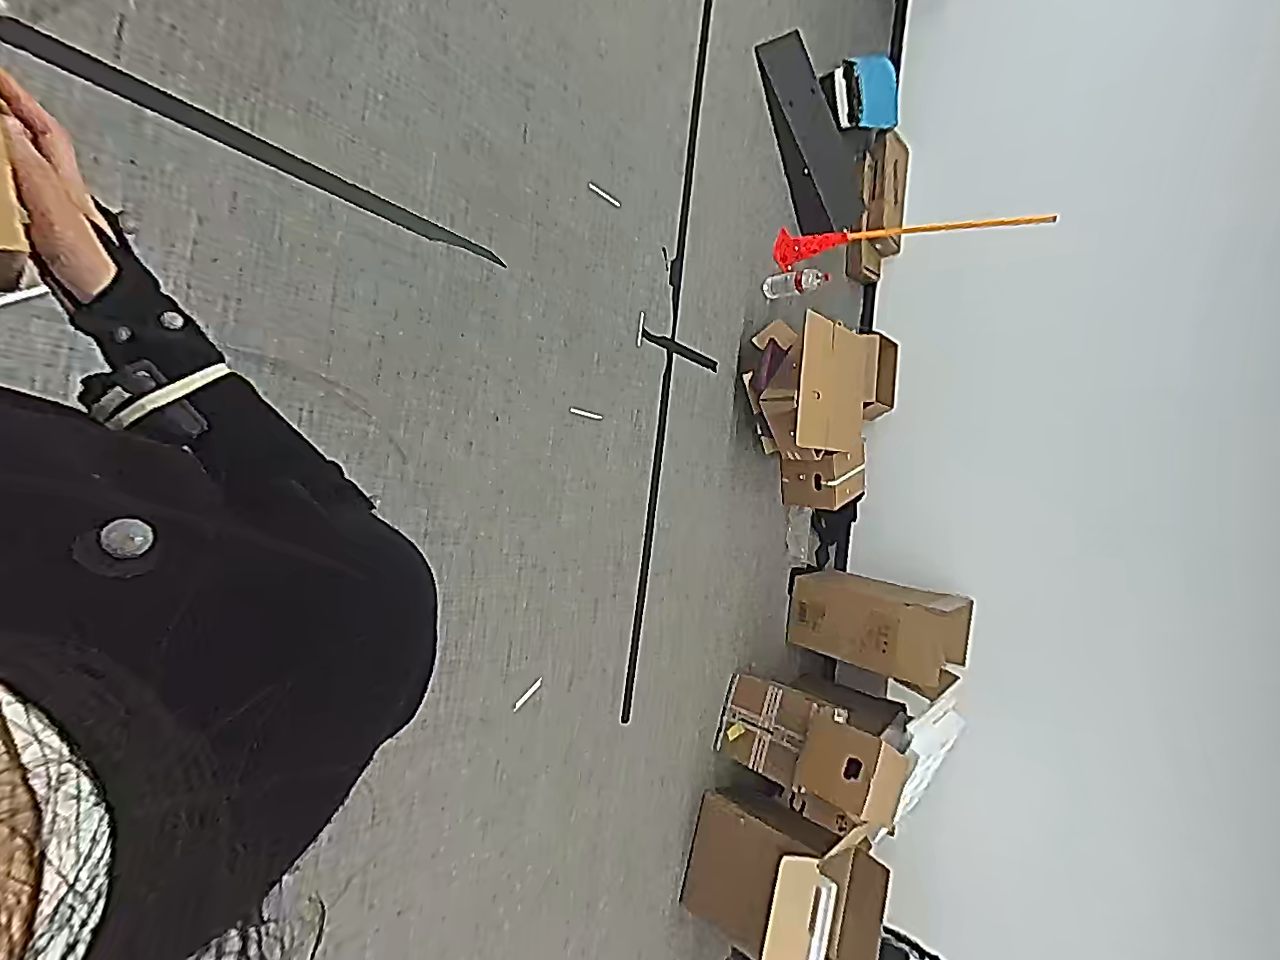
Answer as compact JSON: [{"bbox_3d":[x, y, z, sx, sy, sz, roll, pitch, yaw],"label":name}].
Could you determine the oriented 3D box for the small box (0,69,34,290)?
[{"bbox_3d":[-0.436,-0.198,0.264,0.168,0.176,0.179,-14,105,-49],"label":"small box"}]
